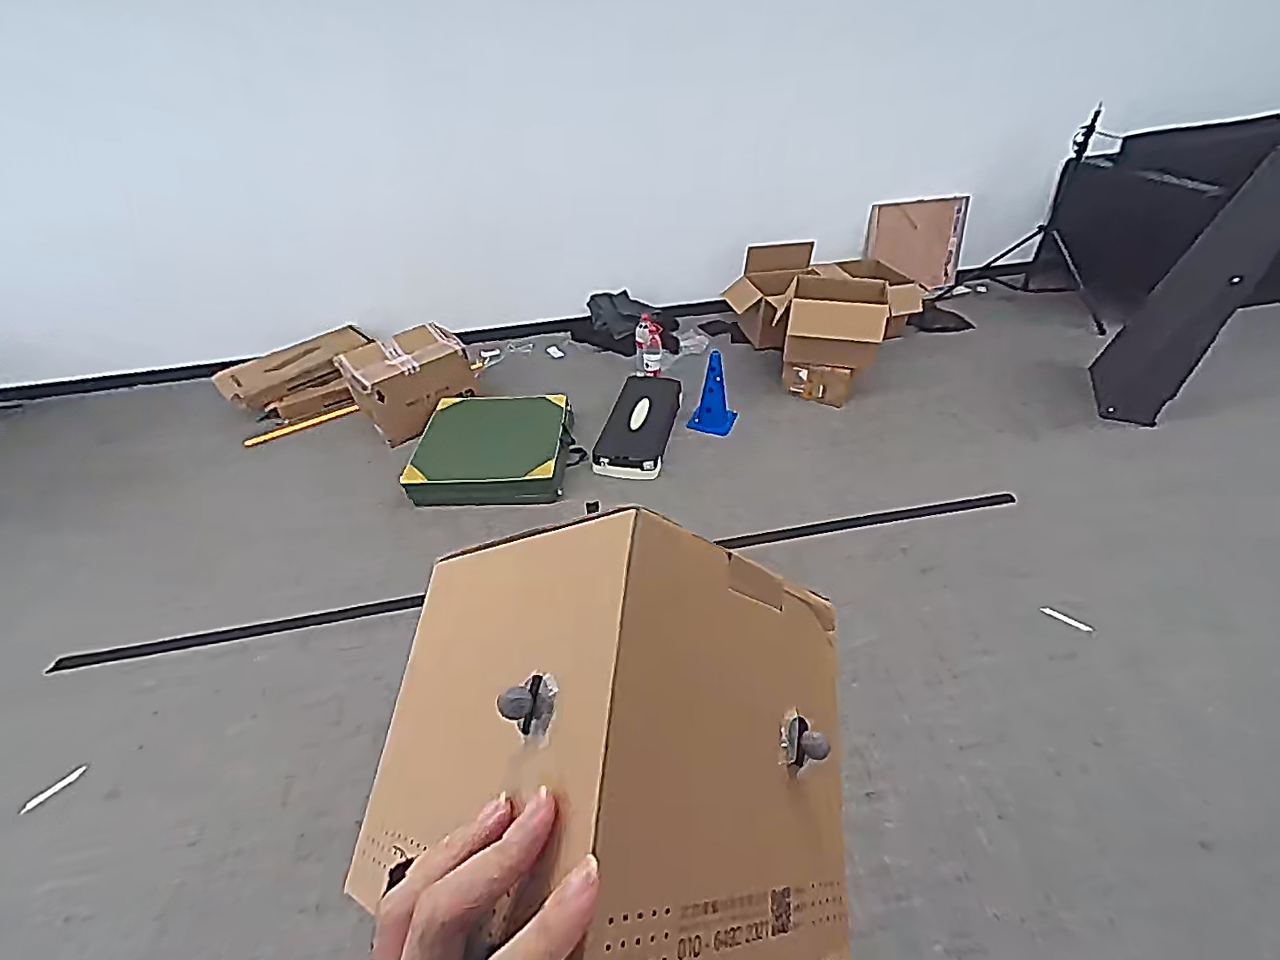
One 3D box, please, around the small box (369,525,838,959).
[{"bbox_3d":[-0.011,0.139,0.286,0.179,0.168,0.176,-18,55,42],"label":"small box"}]
